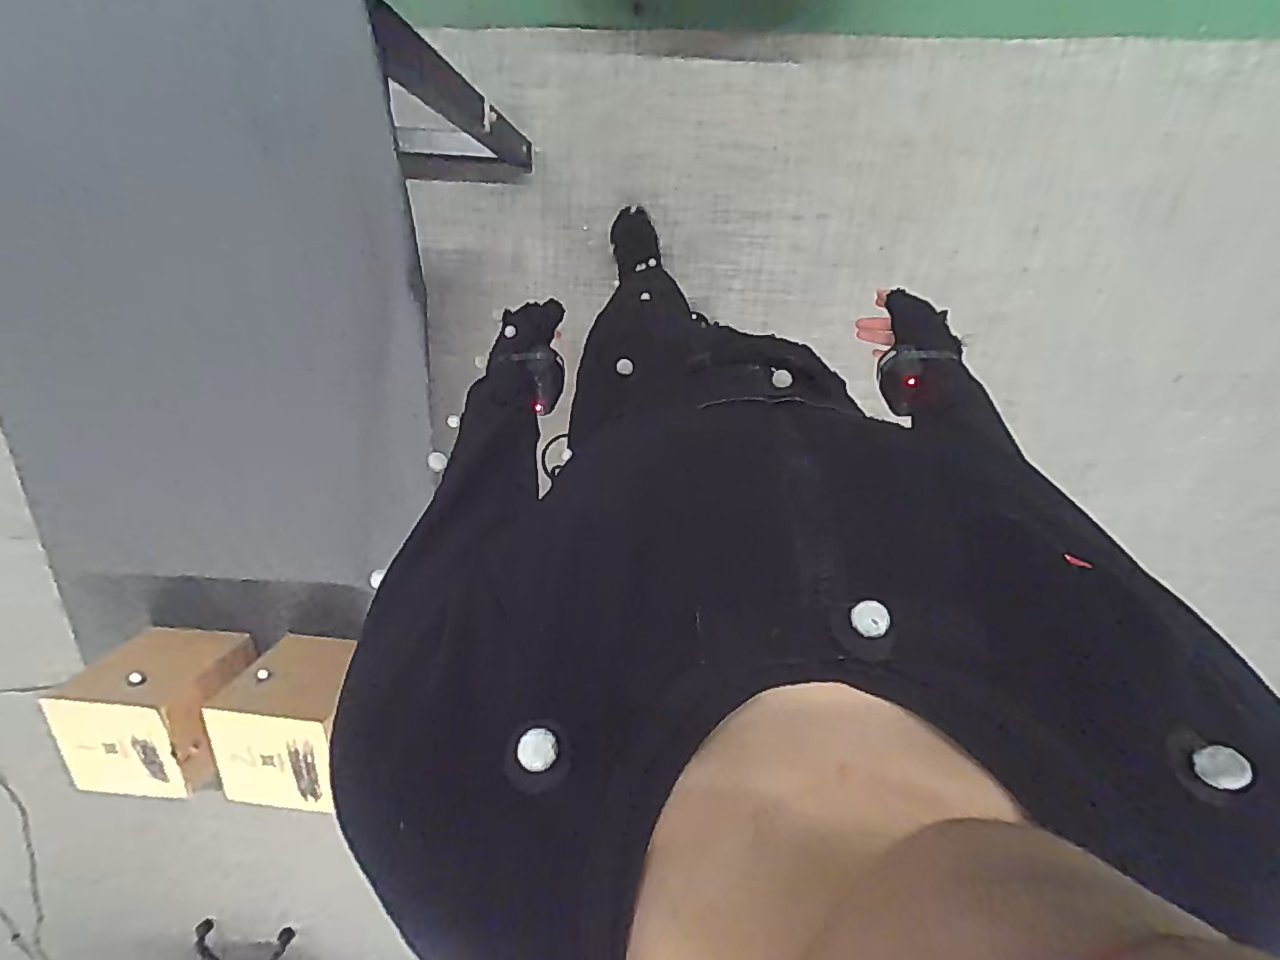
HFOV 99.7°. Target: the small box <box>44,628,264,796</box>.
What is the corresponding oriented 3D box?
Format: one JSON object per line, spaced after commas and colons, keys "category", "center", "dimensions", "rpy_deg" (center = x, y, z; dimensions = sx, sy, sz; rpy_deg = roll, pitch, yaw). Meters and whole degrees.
{"category": "small box", "center": [-0.716, 0.345, 0.827], "dimensions": [0.179, 0.176, 0.168], "rpy_deg": [3, 109, 4]}
